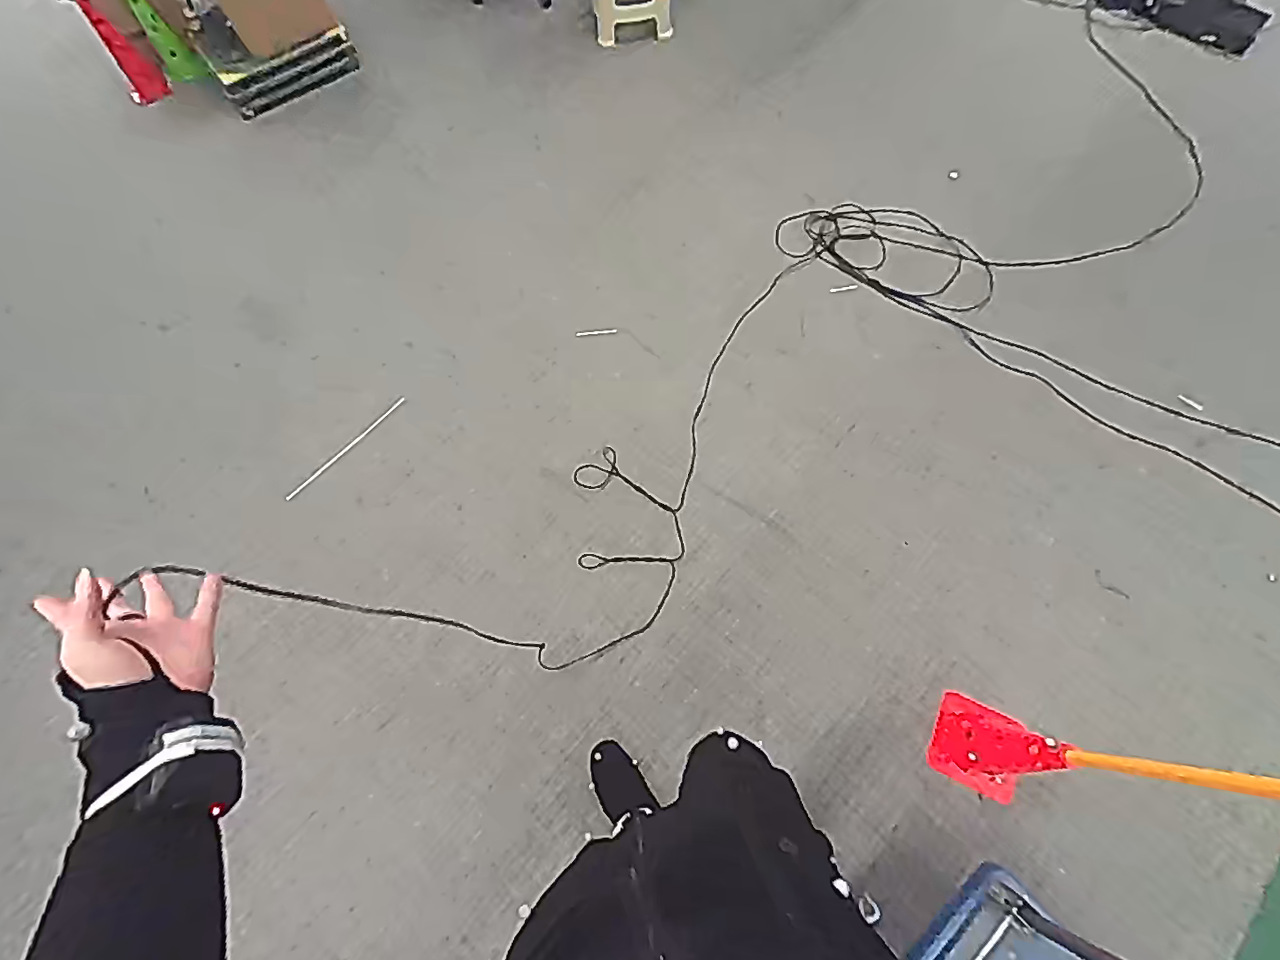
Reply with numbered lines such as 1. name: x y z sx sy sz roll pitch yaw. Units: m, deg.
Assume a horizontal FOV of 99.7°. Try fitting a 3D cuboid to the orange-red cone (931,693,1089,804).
1. orange-red cone: 0.823 0.584 1.167 0.198 0.360 0.199 25 70 13
